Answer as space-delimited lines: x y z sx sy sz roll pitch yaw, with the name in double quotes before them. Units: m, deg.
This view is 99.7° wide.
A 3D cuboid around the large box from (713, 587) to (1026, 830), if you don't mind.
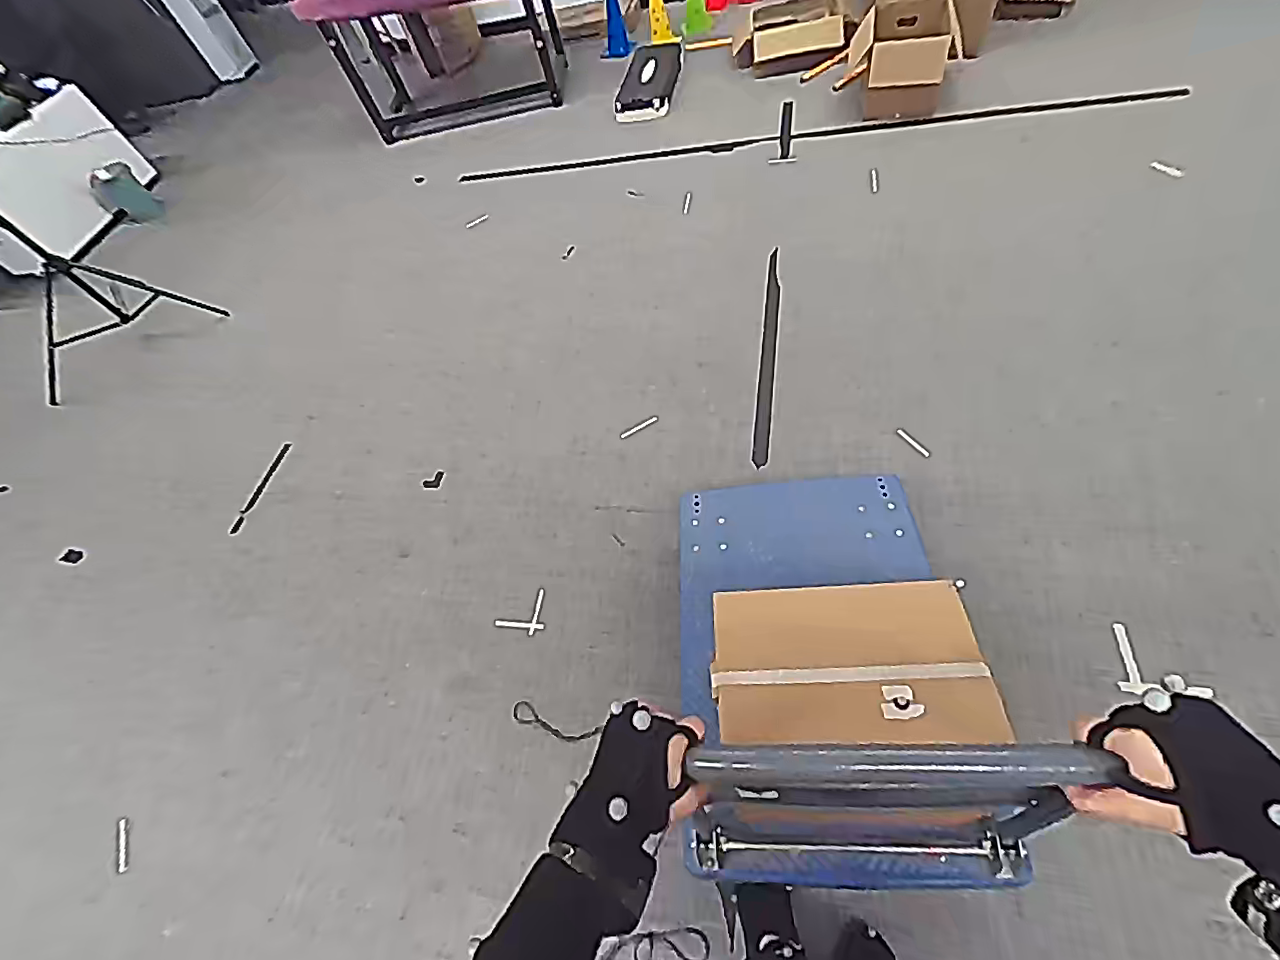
"large box" 0.345 0.409 0.947 0.408 0.320 0.320 -5 50 9
